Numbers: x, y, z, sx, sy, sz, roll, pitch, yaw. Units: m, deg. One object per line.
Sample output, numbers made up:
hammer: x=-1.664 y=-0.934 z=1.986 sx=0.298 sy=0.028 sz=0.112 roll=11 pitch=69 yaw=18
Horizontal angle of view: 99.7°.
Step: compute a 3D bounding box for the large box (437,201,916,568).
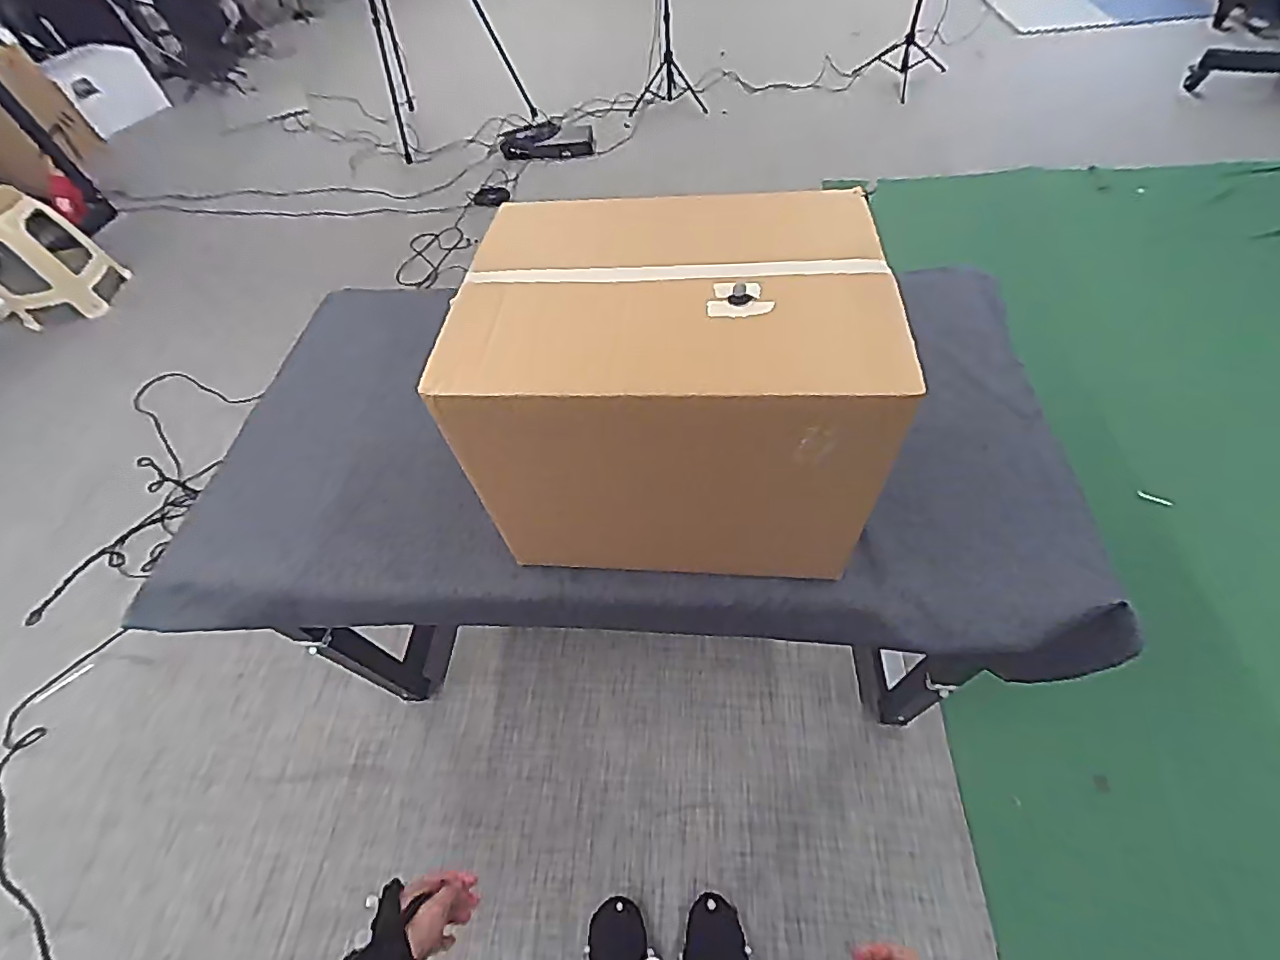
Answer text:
large box: x=0.041 y=-0.102 z=0.648 sx=0.408 sy=0.320 sz=0.320 roll=1 pitch=54 yaw=6
